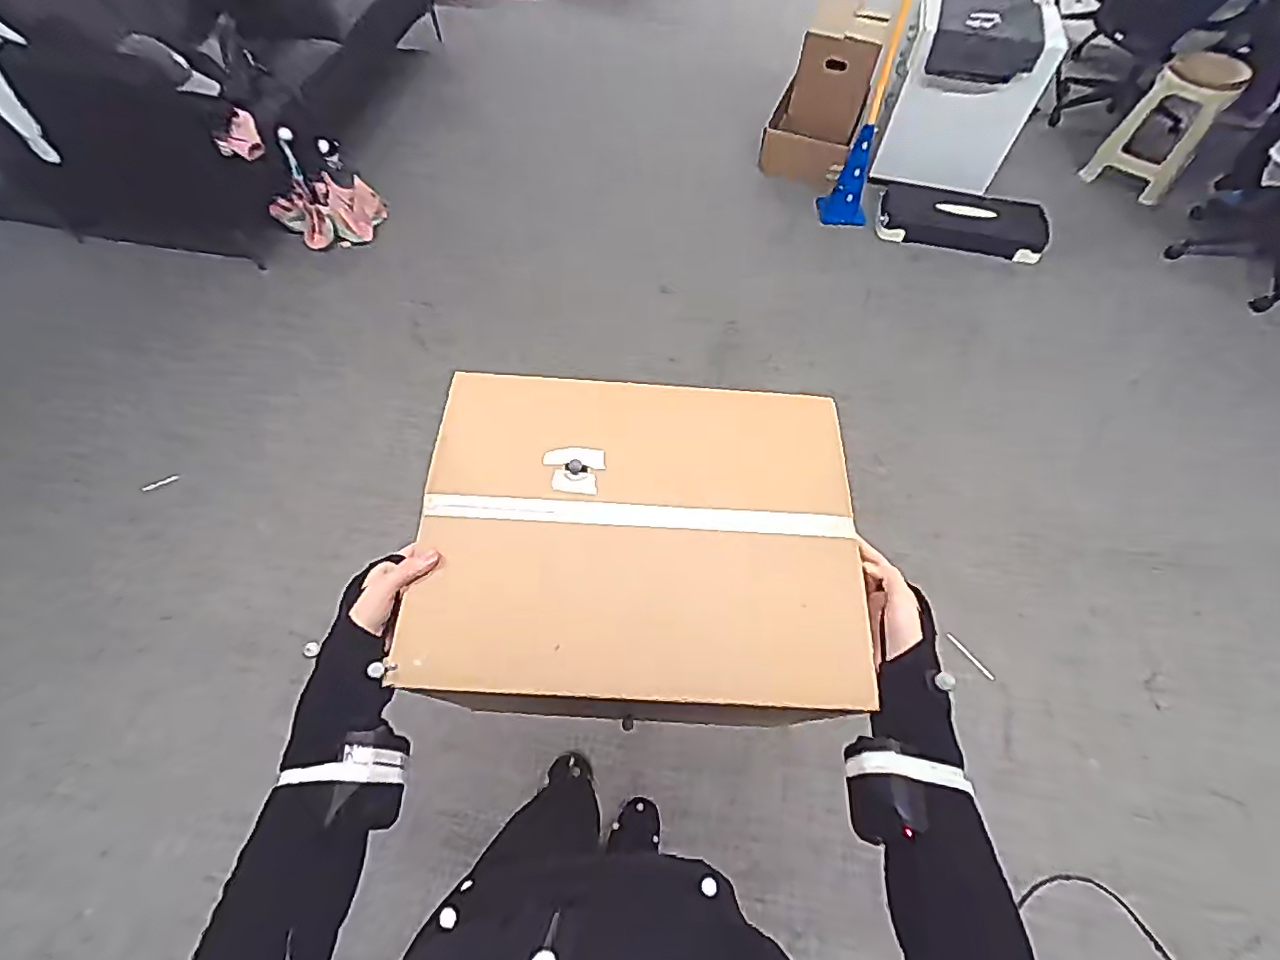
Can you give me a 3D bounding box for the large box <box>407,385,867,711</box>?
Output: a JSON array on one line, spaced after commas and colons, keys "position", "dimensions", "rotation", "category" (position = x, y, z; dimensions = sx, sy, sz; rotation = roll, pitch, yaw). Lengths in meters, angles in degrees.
[{"position": [0.001, 0.106, 0.659], "dimensions": [0.408, 0.320, 0.320], "rotation": [3, 63, -1], "category": "large box"}]
